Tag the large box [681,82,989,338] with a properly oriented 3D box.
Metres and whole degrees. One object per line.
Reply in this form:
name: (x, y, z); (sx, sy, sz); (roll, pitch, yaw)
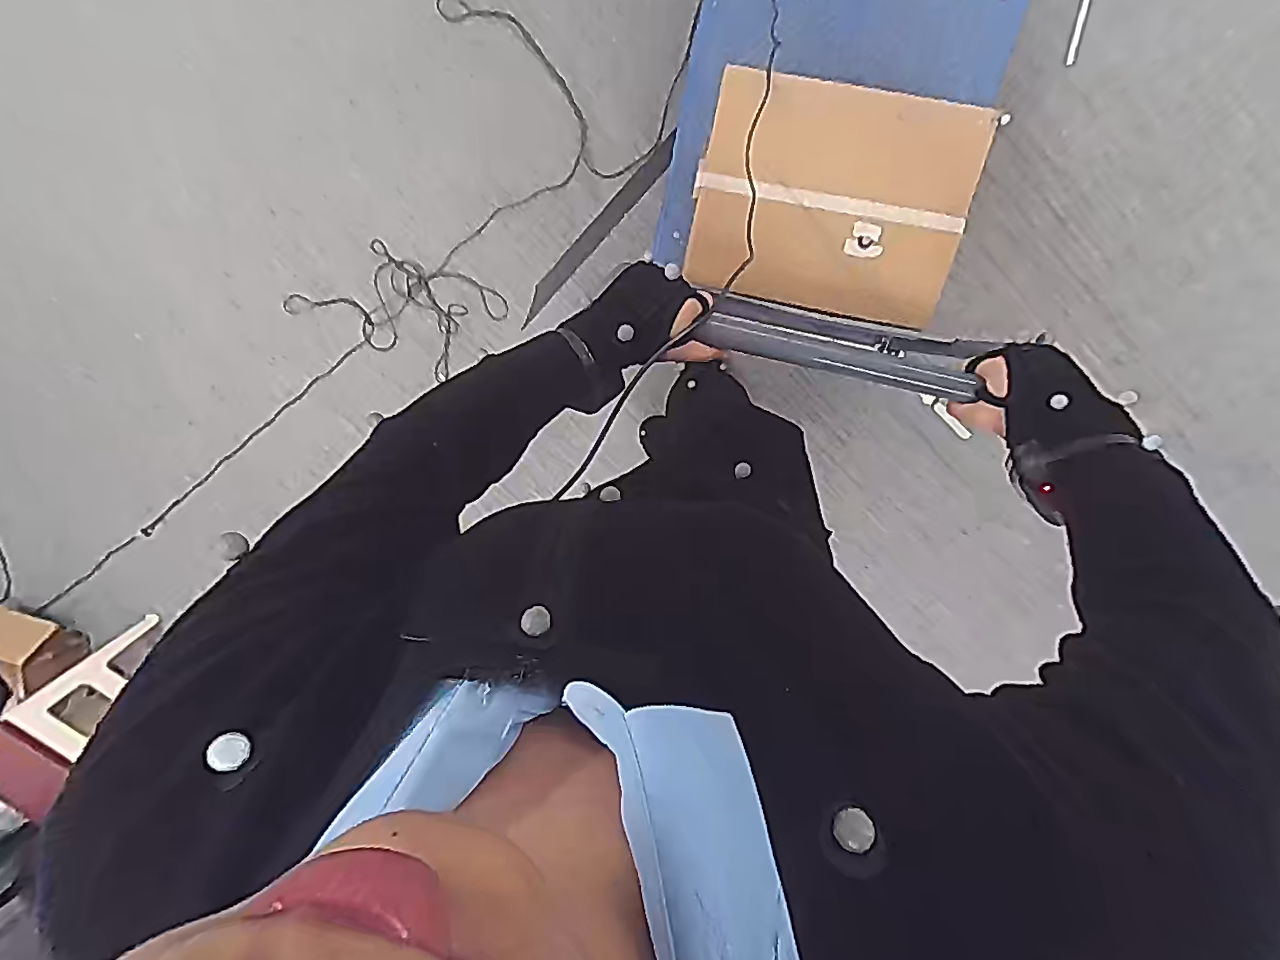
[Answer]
large box: (0.304, -0.452, 0.981); (0.408, 0.320, 0.320); (13, 108, 4)
